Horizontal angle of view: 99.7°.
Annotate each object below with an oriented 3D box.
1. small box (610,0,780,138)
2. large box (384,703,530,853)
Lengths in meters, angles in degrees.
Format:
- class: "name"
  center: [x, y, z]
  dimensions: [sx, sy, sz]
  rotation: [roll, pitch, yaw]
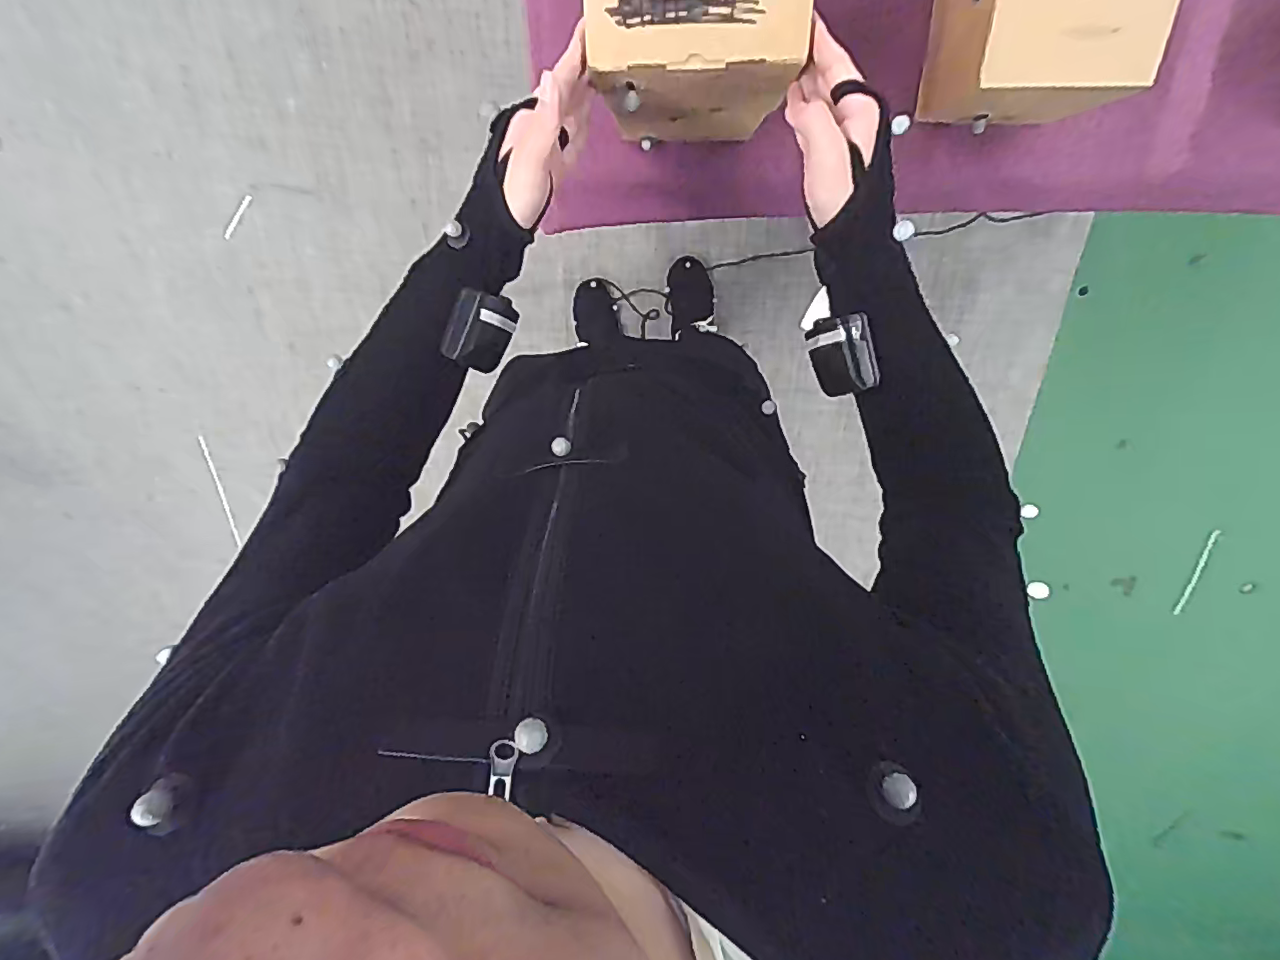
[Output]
- class: "small box"
  center: [0.056, -0.488, 0.590]
  dimensions: [0.168, 0.176, 0.179]
  rotation: [1, 113, 2]
- class: "large box"
  center: [-0.681, 1.120, 2.051]
  dimensions: [0.408, 0.320, 0.320]
  rotation: [23, 113, -8]
